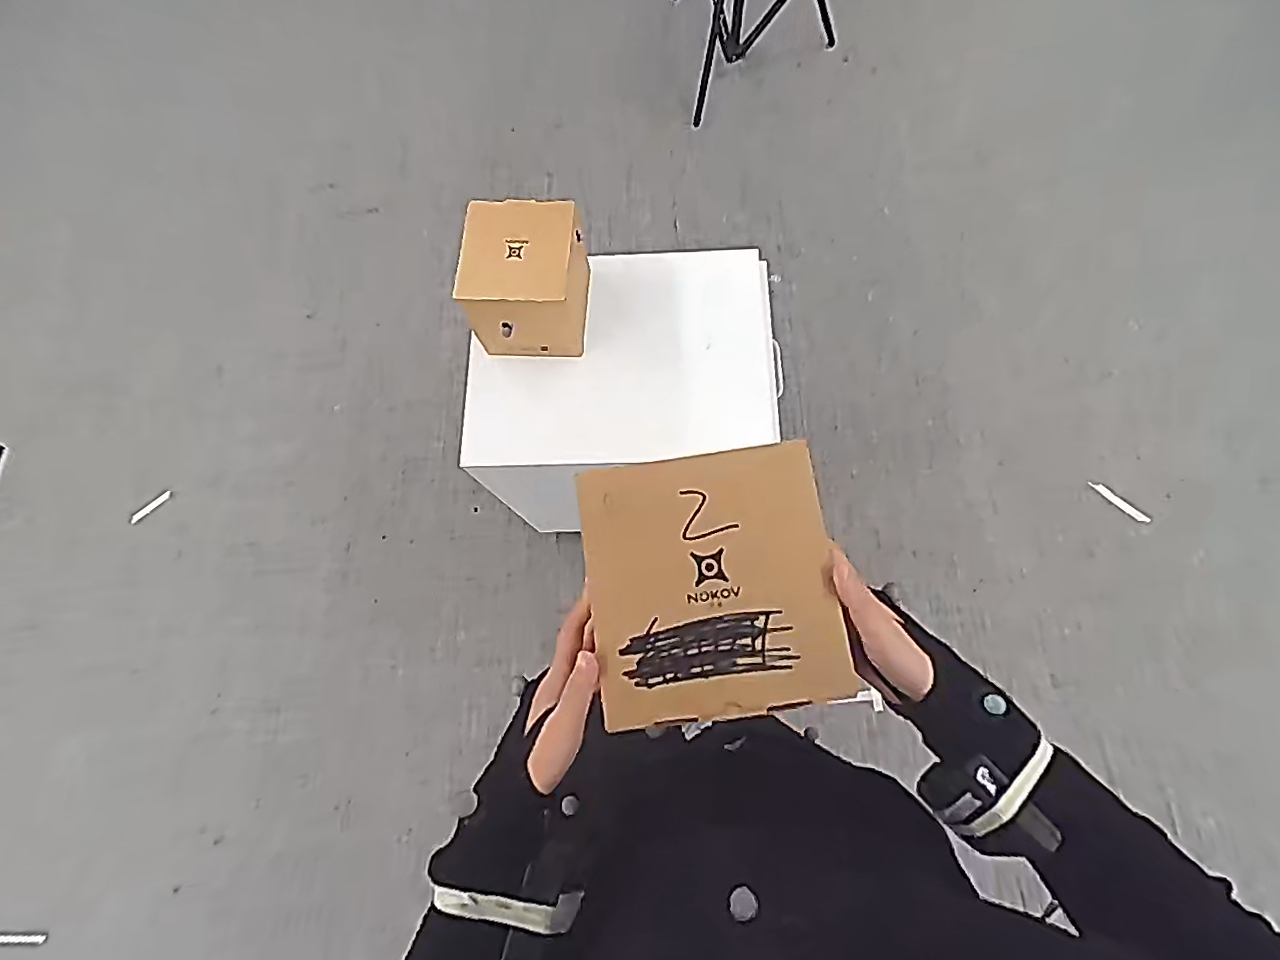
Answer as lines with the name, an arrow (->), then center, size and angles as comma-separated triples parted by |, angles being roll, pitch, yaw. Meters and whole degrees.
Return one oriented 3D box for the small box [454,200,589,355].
small box -> -0.177, -0.314, 0.864 | 0.168, 0.176, 0.179 | 2, 74, 3
